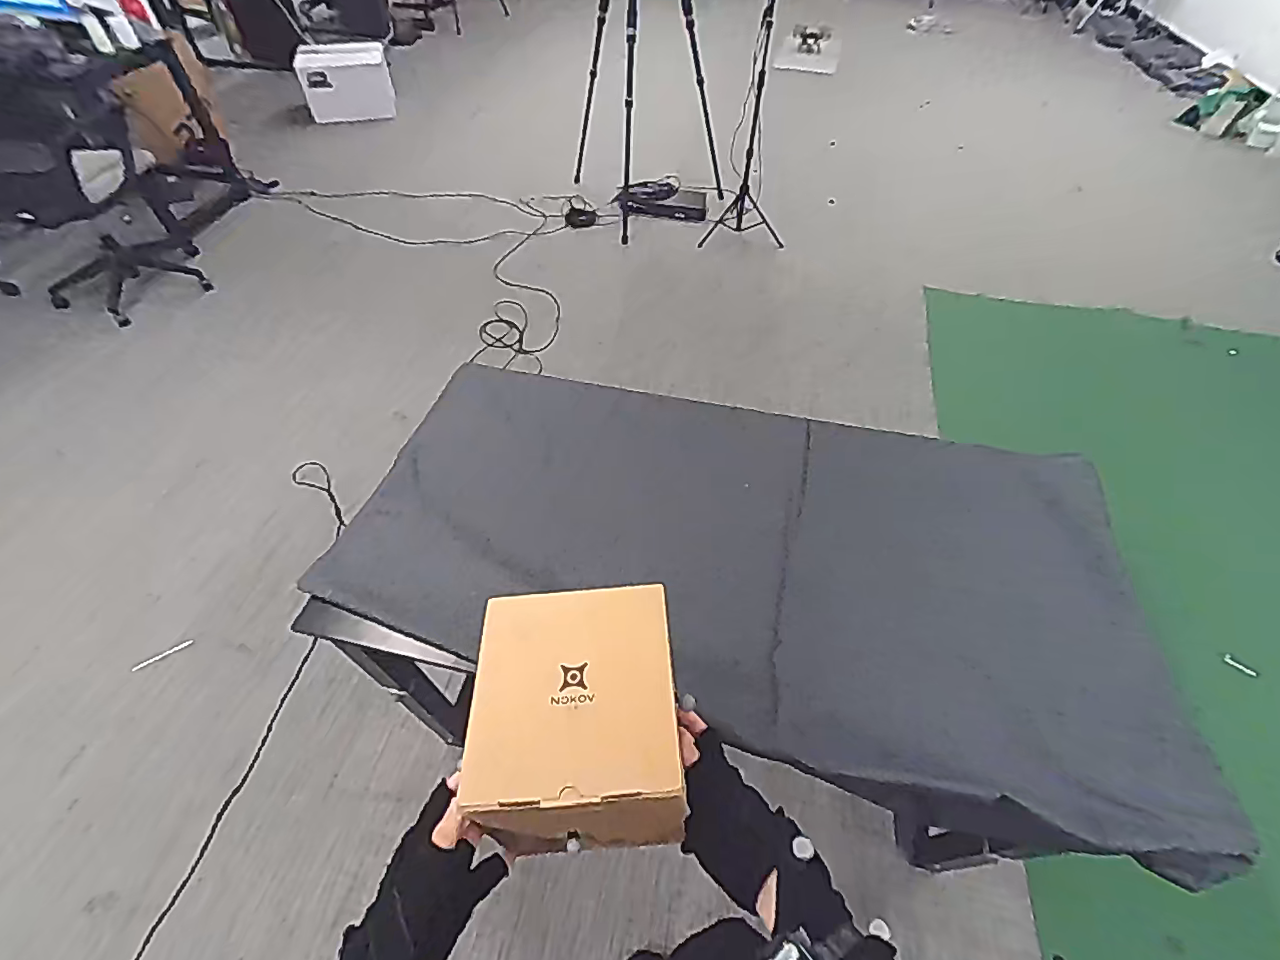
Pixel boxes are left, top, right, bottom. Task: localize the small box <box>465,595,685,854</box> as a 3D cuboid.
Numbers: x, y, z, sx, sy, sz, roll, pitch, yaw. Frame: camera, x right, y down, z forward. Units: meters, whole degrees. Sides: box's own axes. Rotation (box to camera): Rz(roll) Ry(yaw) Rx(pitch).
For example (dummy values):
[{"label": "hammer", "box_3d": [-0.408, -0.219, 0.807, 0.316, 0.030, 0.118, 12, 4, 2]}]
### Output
[{"label": "small box", "box_3d": [-0.049, 0.232, 0.514, 0.168, 0.176, 0.179, -5, 47, 0]}]
